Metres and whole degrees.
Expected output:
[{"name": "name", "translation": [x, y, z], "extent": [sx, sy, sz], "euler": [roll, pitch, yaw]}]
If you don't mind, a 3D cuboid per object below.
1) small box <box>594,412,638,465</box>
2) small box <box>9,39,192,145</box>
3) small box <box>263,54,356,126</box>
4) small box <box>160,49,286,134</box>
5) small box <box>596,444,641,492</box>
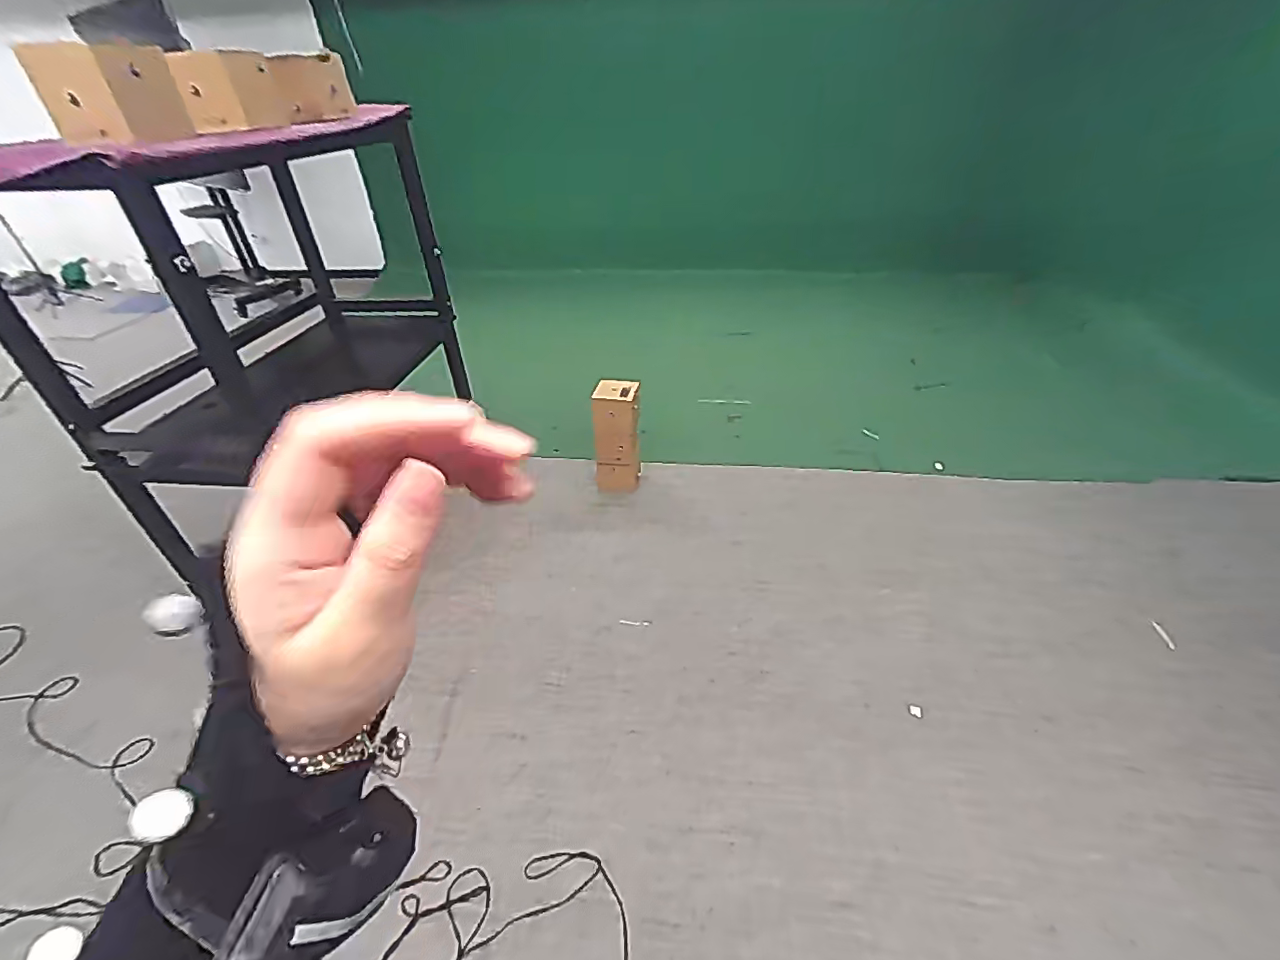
[{"name": "small box", "translation": [-0.103, -0.185, 2.422], "extent": [0.168, 0.176, 0.179], "euler": [5, 37, 7]}, {"name": "small box", "translation": [-1.096, -0.798, 1.120], "extent": [0.168, 0.176, 0.179], "euler": [3, 36, 5]}, {"name": "small box", "translation": [-1.039, -1.228, 1.701], "extent": [0.179, 0.176, 0.168], "euler": [5, 38, 13]}, {"name": "small box", "translation": [-1.076, -1.010, 1.414], "extent": [0.168, 0.176, 0.179], "euler": [1, 36, 7]}, {"name": "small box", "translation": [-0.096, -0.059, 2.524], "extent": [0.179, 0.176, 0.168], "euler": [5, 37, 9]}]
